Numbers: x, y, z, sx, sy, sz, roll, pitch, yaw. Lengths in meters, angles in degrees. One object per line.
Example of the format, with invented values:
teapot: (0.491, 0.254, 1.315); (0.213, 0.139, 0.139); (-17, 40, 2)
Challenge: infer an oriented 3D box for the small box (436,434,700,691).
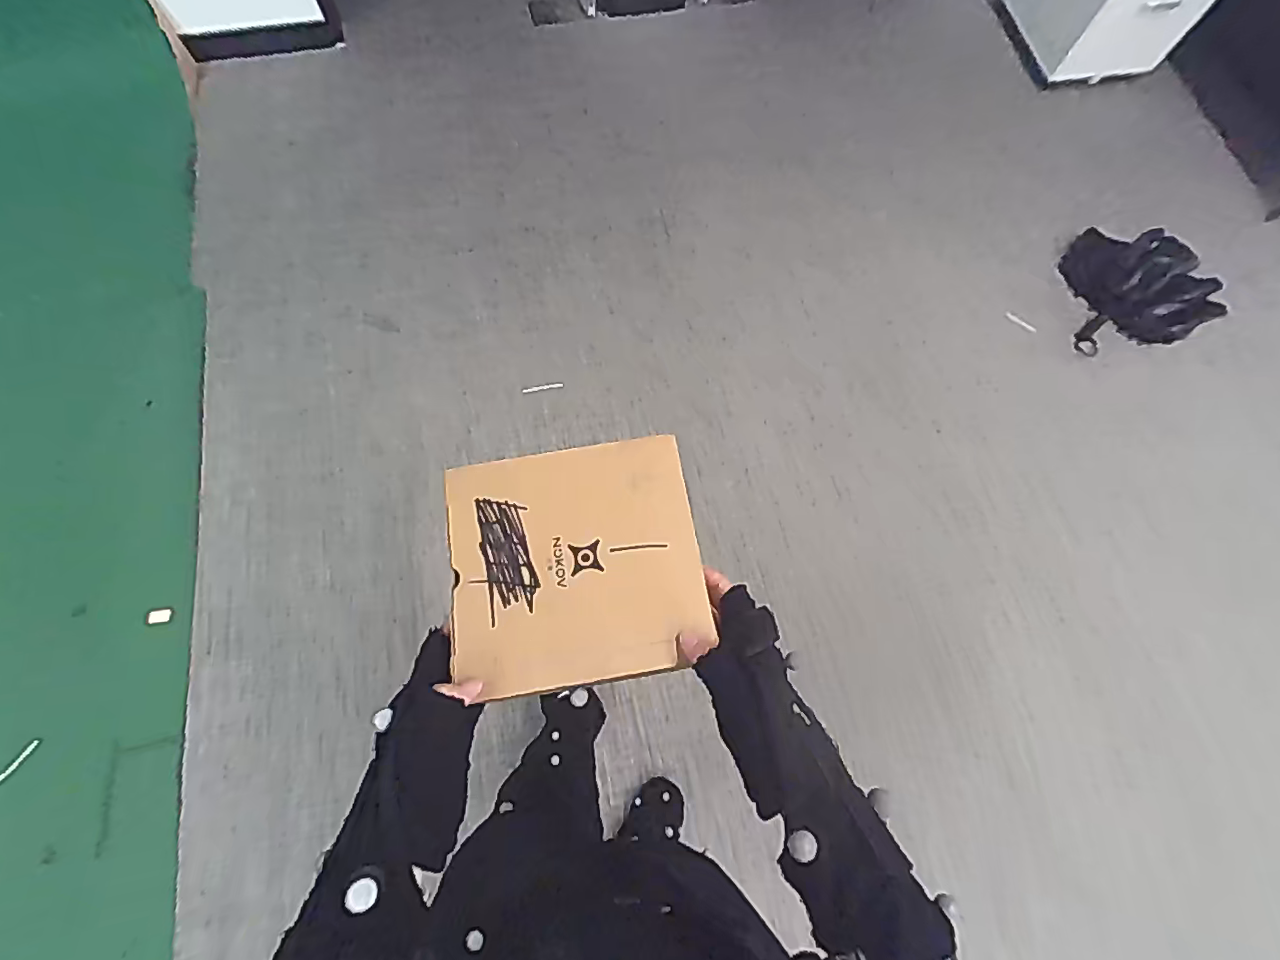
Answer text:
small box: (-0.054, 0.080, 0.454); (0.179, 0.176, 0.168); (-8, 70, -2)
